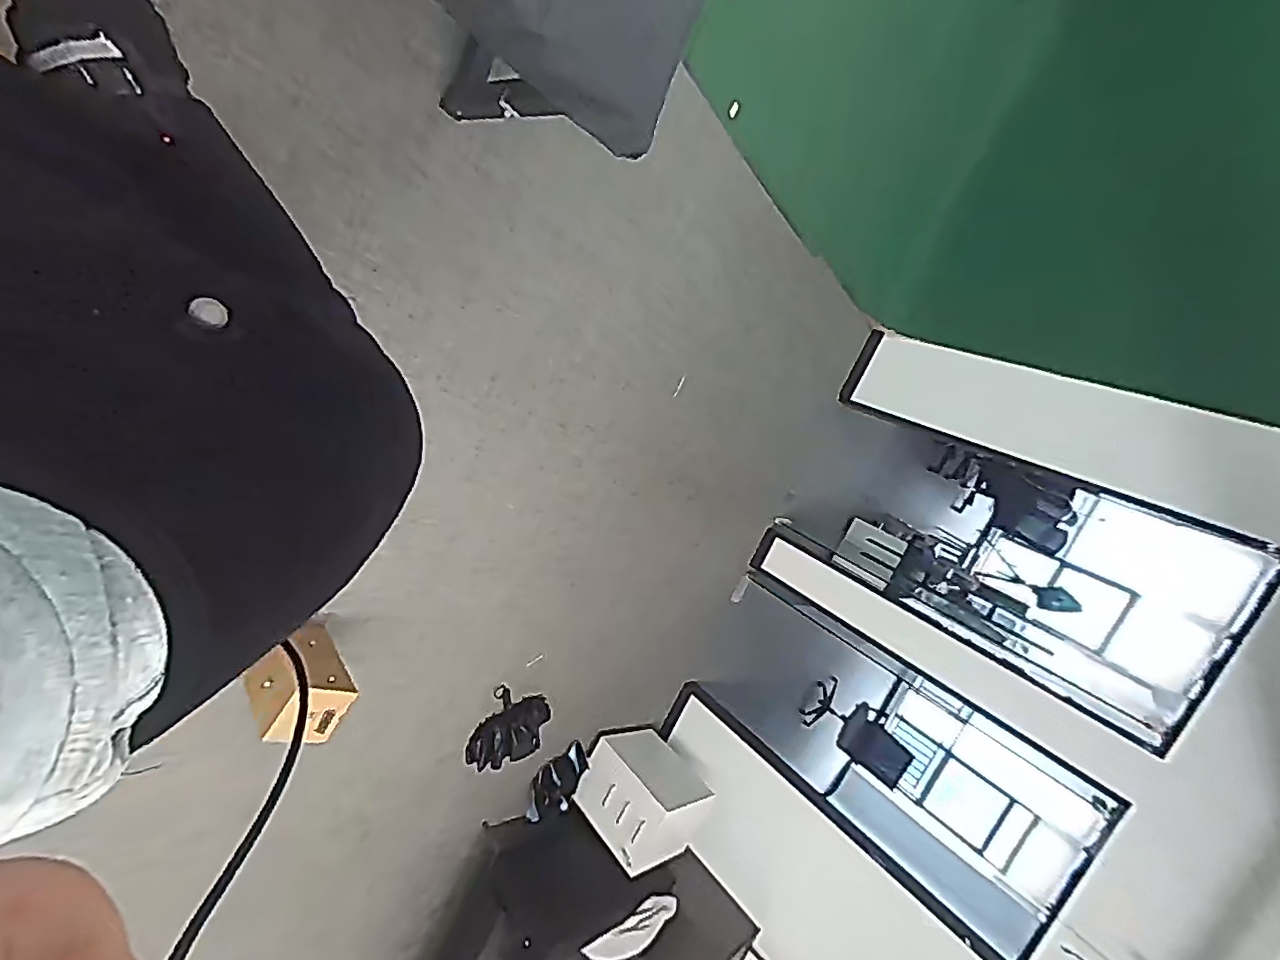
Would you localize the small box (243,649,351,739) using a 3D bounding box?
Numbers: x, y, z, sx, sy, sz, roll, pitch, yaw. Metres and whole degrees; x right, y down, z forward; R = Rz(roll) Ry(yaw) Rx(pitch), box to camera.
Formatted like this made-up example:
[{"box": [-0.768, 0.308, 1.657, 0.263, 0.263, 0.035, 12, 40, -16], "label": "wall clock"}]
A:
[{"box": [-0.958, 0.595, 1.509, 0.168, 0.176, 0.179, -58, 141, -4], "label": "small box"}]

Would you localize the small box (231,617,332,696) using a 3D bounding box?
[{"box": [-1.070, 0.528, 1.611, 0.168, 0.176, 0.179, -58, 141, -3], "label": "small box"}]
